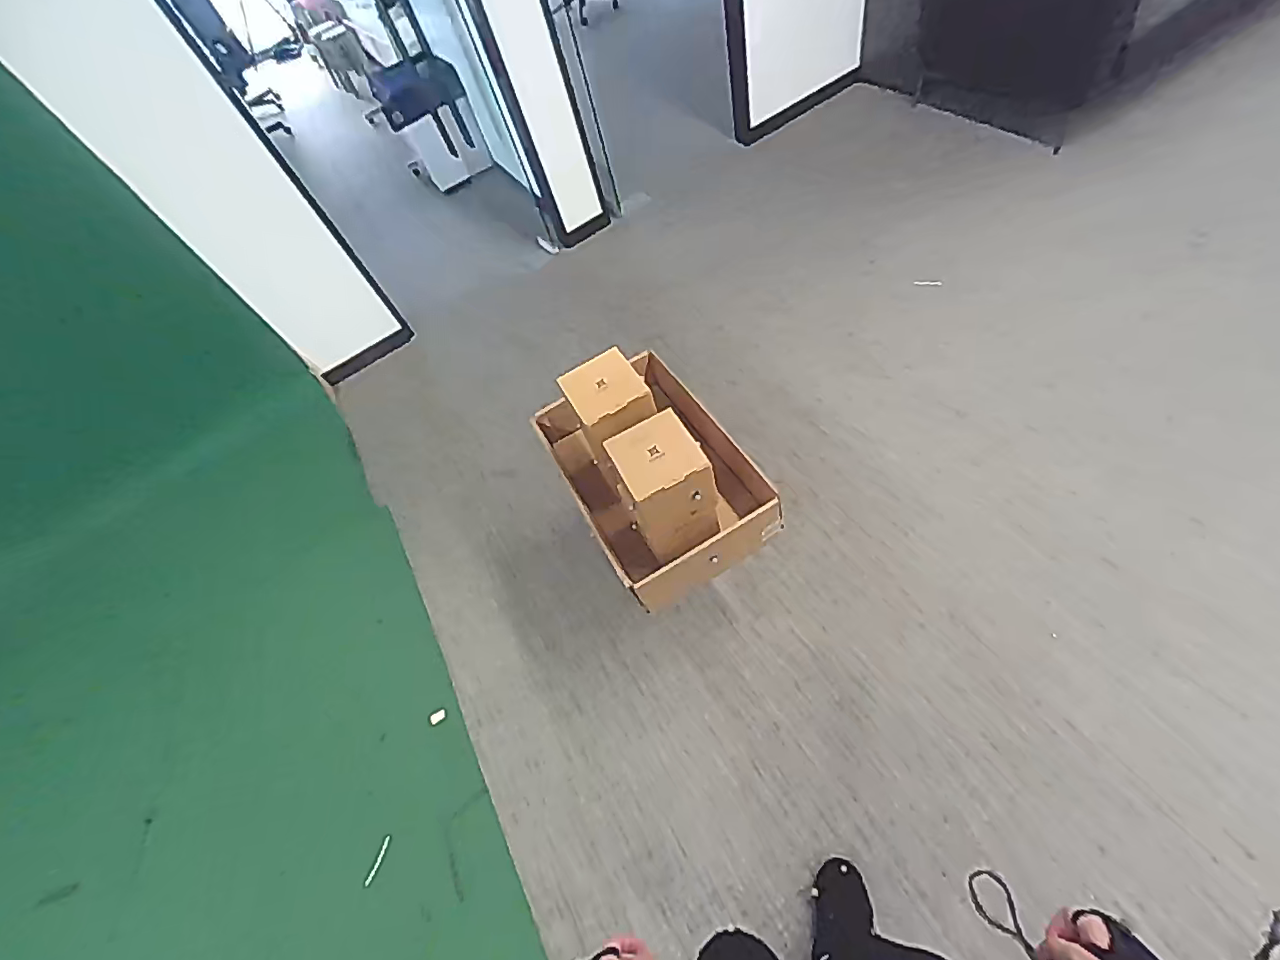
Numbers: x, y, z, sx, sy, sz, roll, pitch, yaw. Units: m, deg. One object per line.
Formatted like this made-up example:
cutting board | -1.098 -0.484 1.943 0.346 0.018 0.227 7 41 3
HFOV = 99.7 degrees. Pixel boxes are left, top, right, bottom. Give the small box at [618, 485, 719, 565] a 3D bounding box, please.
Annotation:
small box | 0.073 0.081 1.286 0.168 0.176 0.179 -29 54 -6

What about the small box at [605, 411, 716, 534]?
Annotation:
small box | 0.048 -0.007 1.150 0.168 0.176 0.179 -27 54 -5

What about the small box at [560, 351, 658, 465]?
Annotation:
small box | -0.067 -0.168 1.294 0.168 0.176 0.179 -30 57 -6
